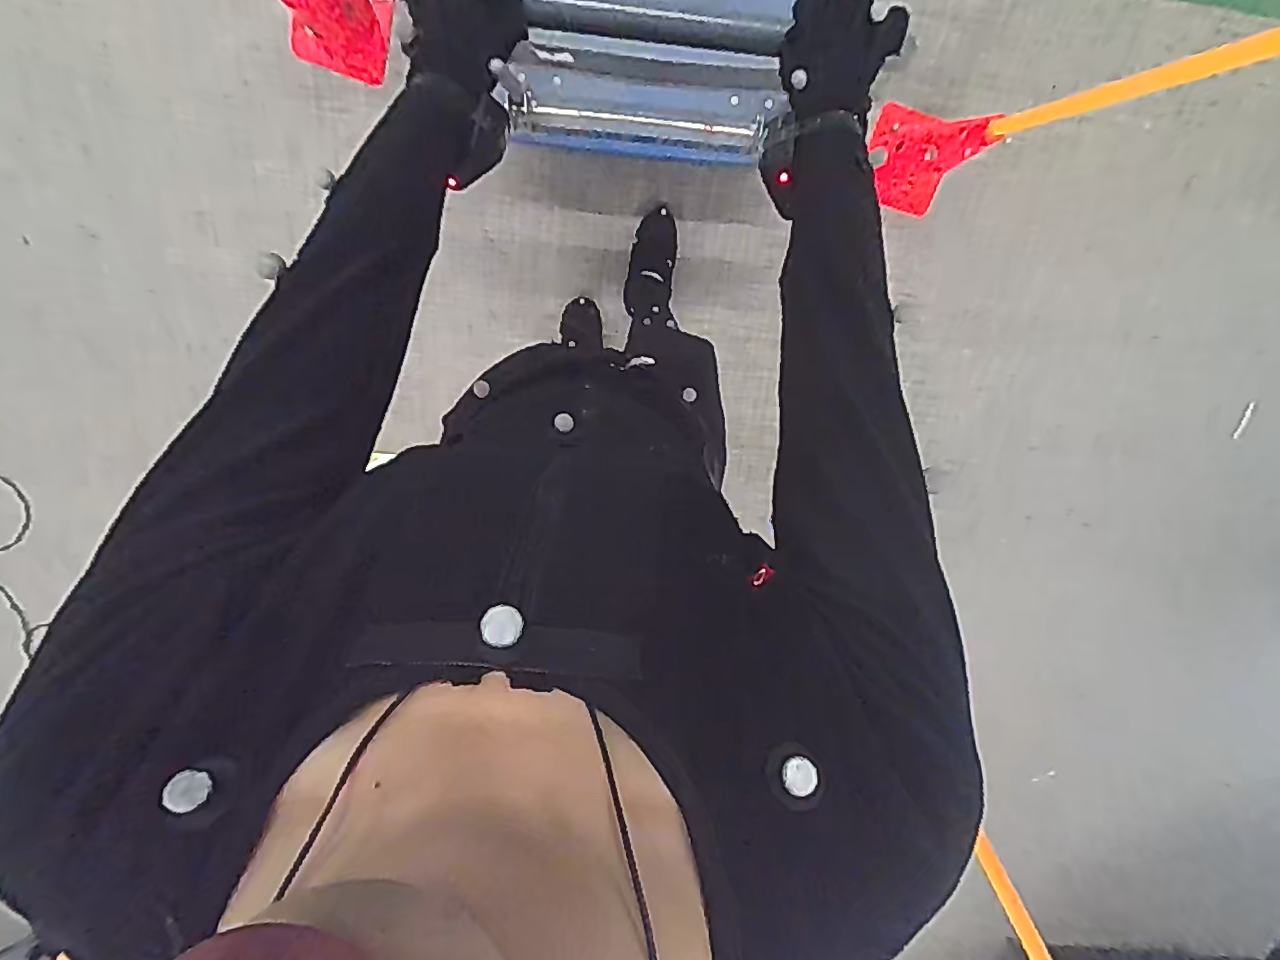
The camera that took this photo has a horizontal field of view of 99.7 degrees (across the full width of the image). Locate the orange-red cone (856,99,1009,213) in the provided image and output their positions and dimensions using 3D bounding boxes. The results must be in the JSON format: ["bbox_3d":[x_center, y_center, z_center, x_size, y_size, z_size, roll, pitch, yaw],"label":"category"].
[{"bbox_3d":[0.626,-0.686,1.103,0.198,0.360,0.199,16,112,-6],"label":"orange-red cone"}]
